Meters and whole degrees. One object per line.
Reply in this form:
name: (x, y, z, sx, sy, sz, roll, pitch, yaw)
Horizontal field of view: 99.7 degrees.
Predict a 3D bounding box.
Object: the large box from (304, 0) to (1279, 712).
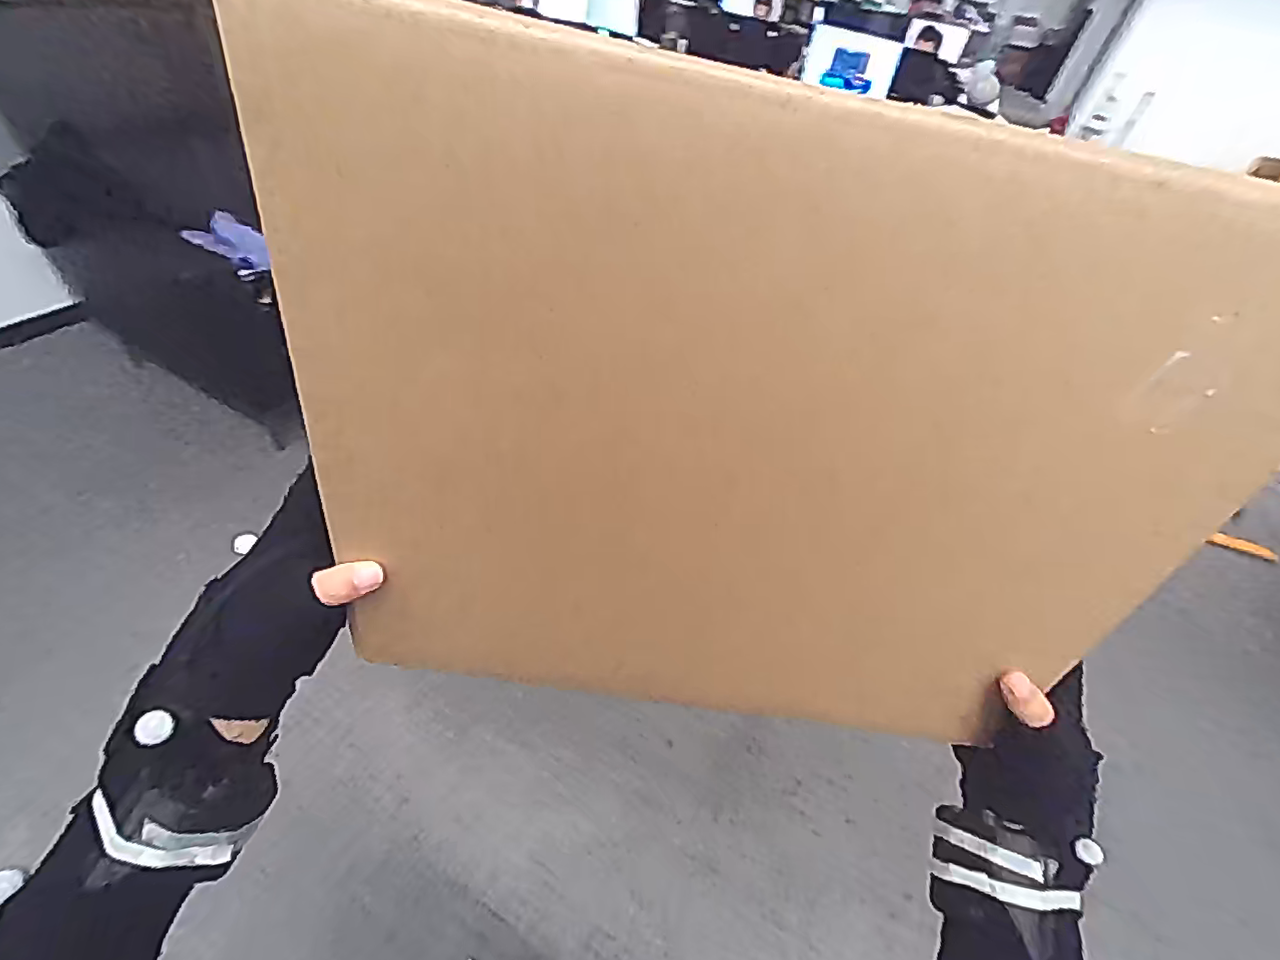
large box: (0.064, -0.073, 0.379, 0.408, 0.320, 0.320, 9, 36, -7)
